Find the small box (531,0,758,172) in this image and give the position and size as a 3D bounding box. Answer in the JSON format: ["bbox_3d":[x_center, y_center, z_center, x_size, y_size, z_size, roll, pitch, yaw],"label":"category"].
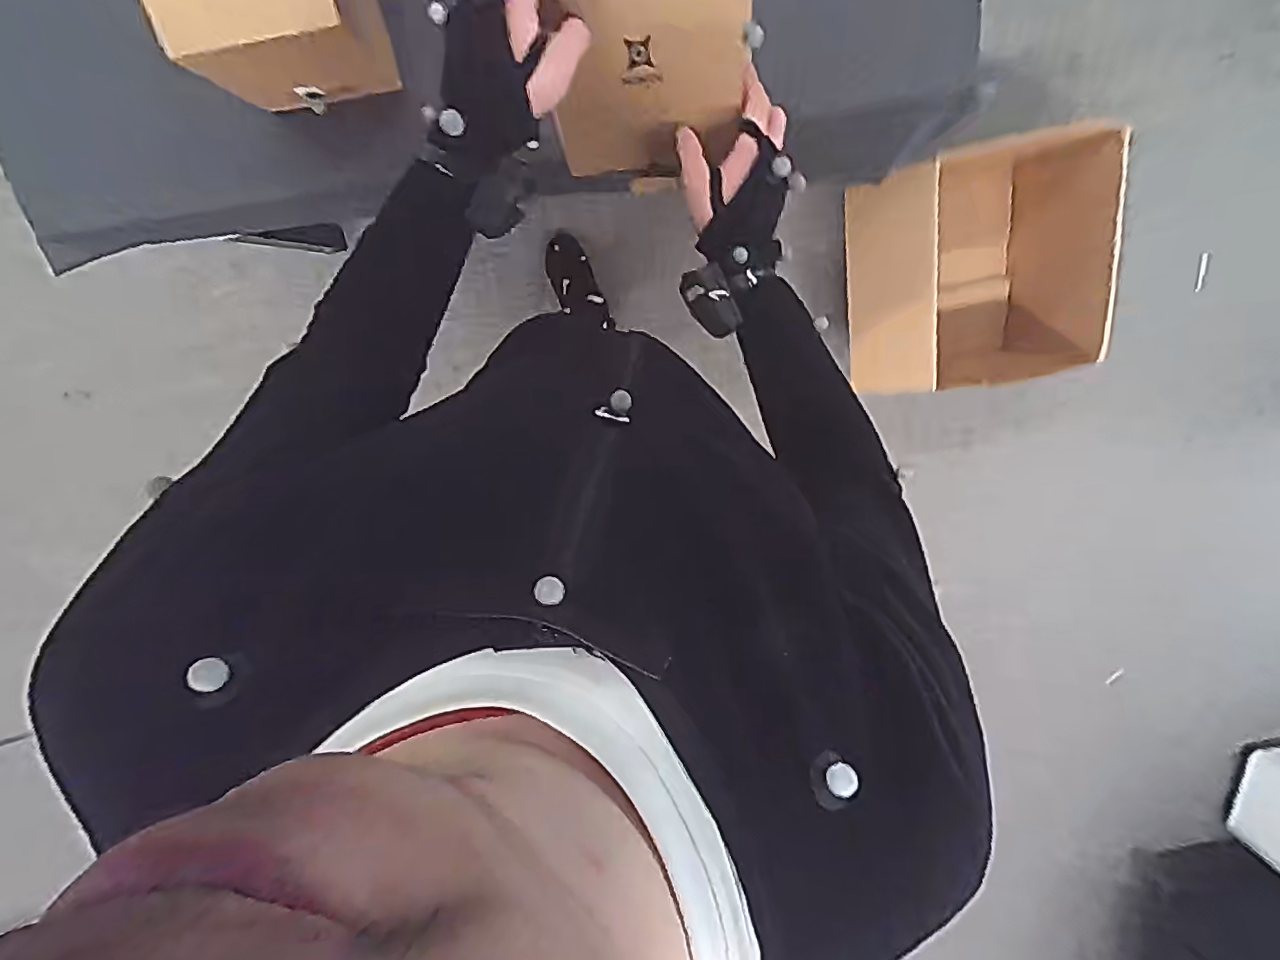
[{"bbox_3d":[0.016,-0.405,0.470,0.168,0.176,0.179,3,151,12],"label":"small box"}]

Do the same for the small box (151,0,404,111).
[{"bbox_3d":[-0.364,-0.505,0.537,0.168,0.176,0.179,-11,110,0],"label":"small box"}]
